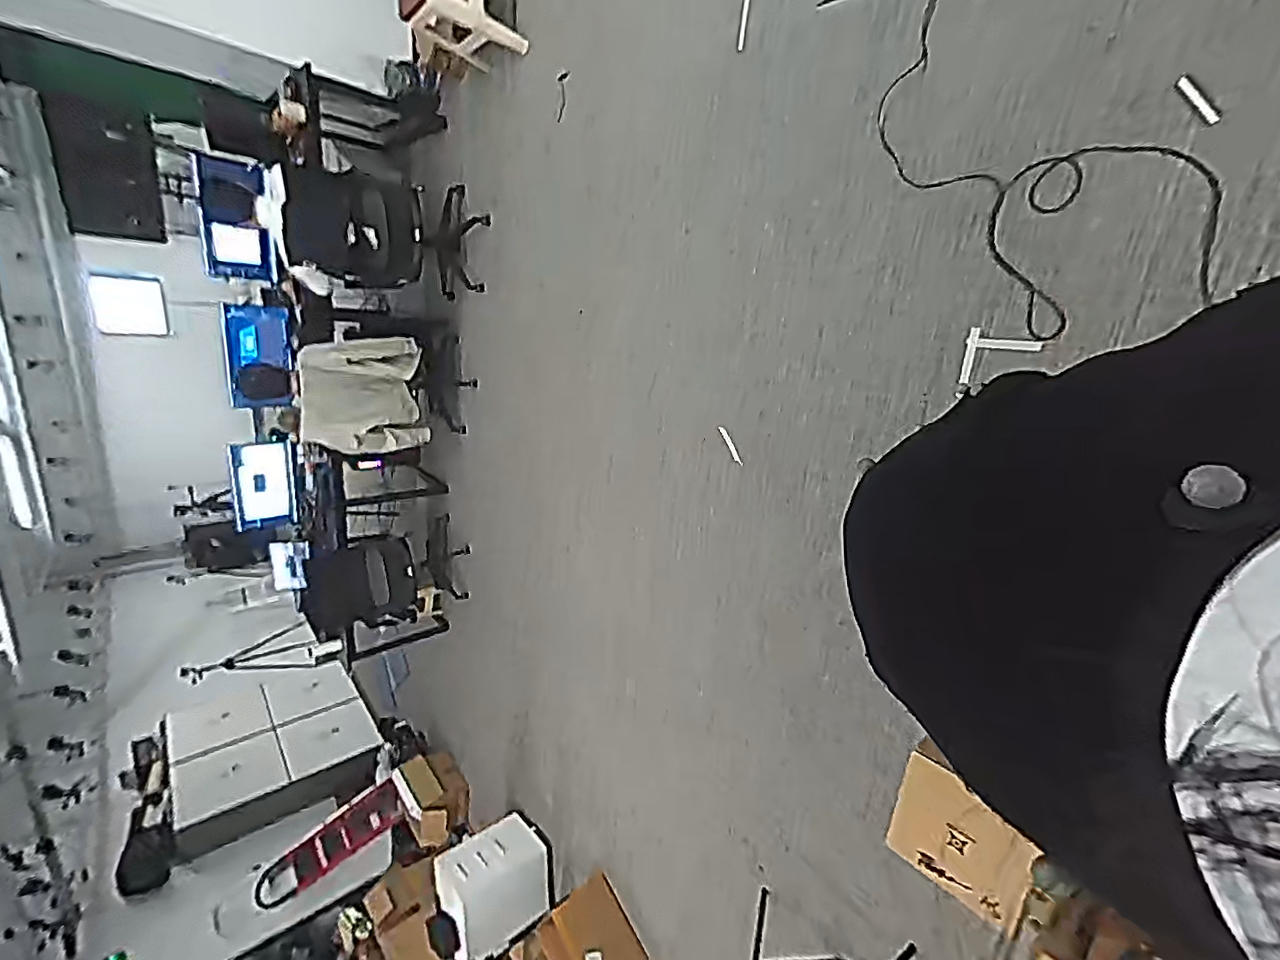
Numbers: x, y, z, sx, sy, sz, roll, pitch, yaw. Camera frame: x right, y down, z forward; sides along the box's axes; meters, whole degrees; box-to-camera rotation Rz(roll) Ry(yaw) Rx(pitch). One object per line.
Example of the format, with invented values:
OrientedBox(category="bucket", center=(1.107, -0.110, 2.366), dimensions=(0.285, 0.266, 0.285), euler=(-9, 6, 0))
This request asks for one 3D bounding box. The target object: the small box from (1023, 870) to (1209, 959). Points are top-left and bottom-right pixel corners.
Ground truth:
OrientedBox(category="small box", center=(0.590, 0.659, 0.682), dimensions=(0.168, 0.176, 0.179), euler=(21, 110, 42))

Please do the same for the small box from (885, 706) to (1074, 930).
OrientedBox(category="small box", center=(0.483, 0.458, 0.767), dimensions=(0.168, 0.176, 0.179), euler=(23, 112, 45))

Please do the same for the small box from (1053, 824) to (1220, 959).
OrientedBox(category="small box", center=(0.710, 0.664, 0.793), dimensions=(0.168, 0.176, 0.179), euler=(23, 112, 43))
